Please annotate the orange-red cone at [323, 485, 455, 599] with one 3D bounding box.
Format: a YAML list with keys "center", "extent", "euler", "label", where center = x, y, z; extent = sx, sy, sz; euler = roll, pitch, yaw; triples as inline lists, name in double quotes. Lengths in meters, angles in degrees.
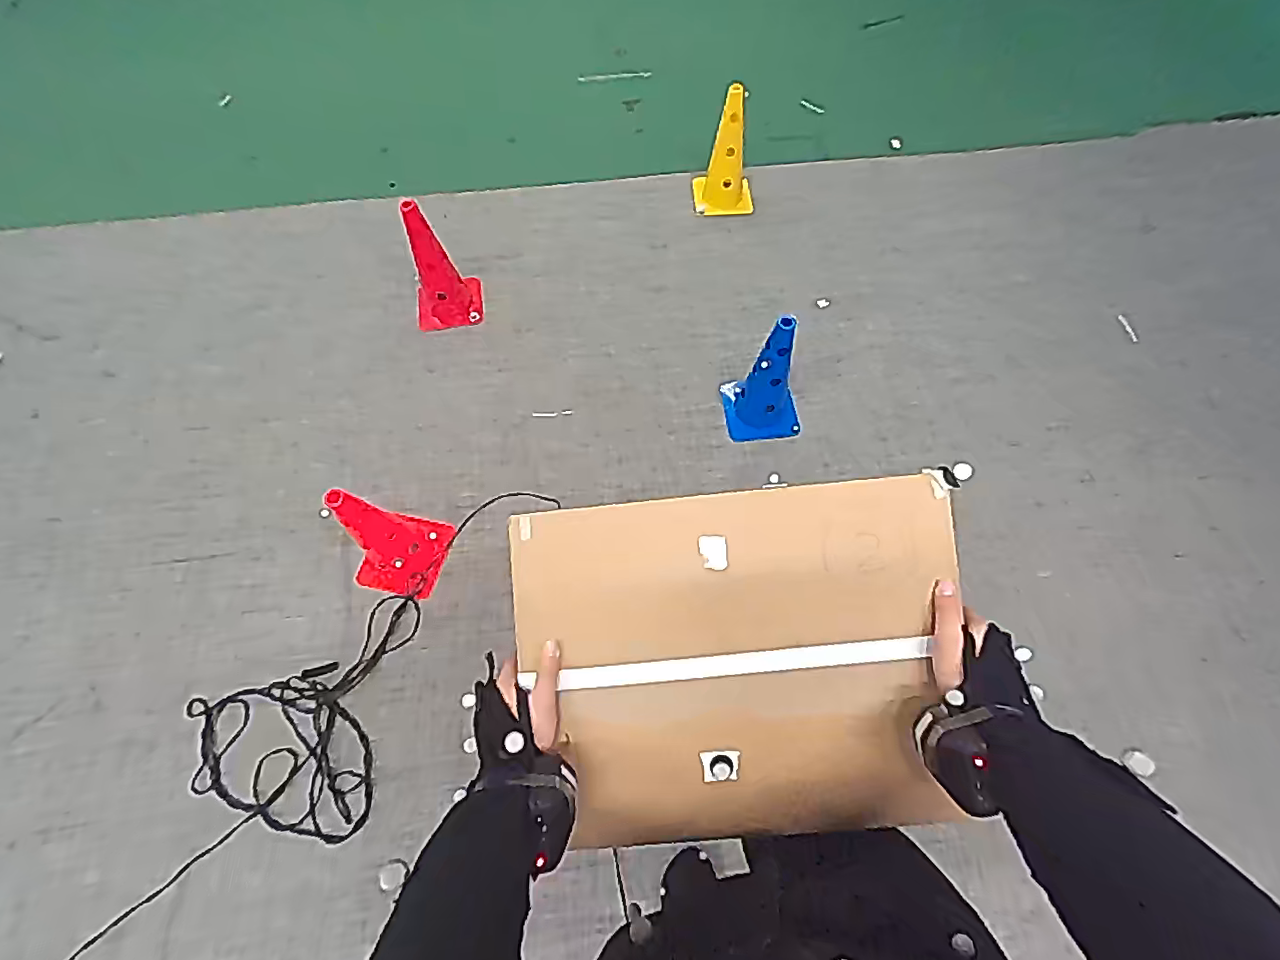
- center: [-0.594, 0.110, 1.206]
  extent: [0.199, 0.360, 0.198]
  euler: [12, 63, 9]
  label: "orange-red cone"

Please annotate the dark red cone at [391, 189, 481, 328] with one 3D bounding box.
- center: [-0.611, -0.645, 1.565]
  extent: [0.202, 0.394, 0.201]
  euler: [-12, 60, -4]
  label: "dark red cone"

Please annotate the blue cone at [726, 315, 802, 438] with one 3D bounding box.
- center: [0.343, -0.276, 1.385]
  extent: [0.192, 0.380, 0.193]
  euler: [-5, 63, -1]
  label: "blue cone"
